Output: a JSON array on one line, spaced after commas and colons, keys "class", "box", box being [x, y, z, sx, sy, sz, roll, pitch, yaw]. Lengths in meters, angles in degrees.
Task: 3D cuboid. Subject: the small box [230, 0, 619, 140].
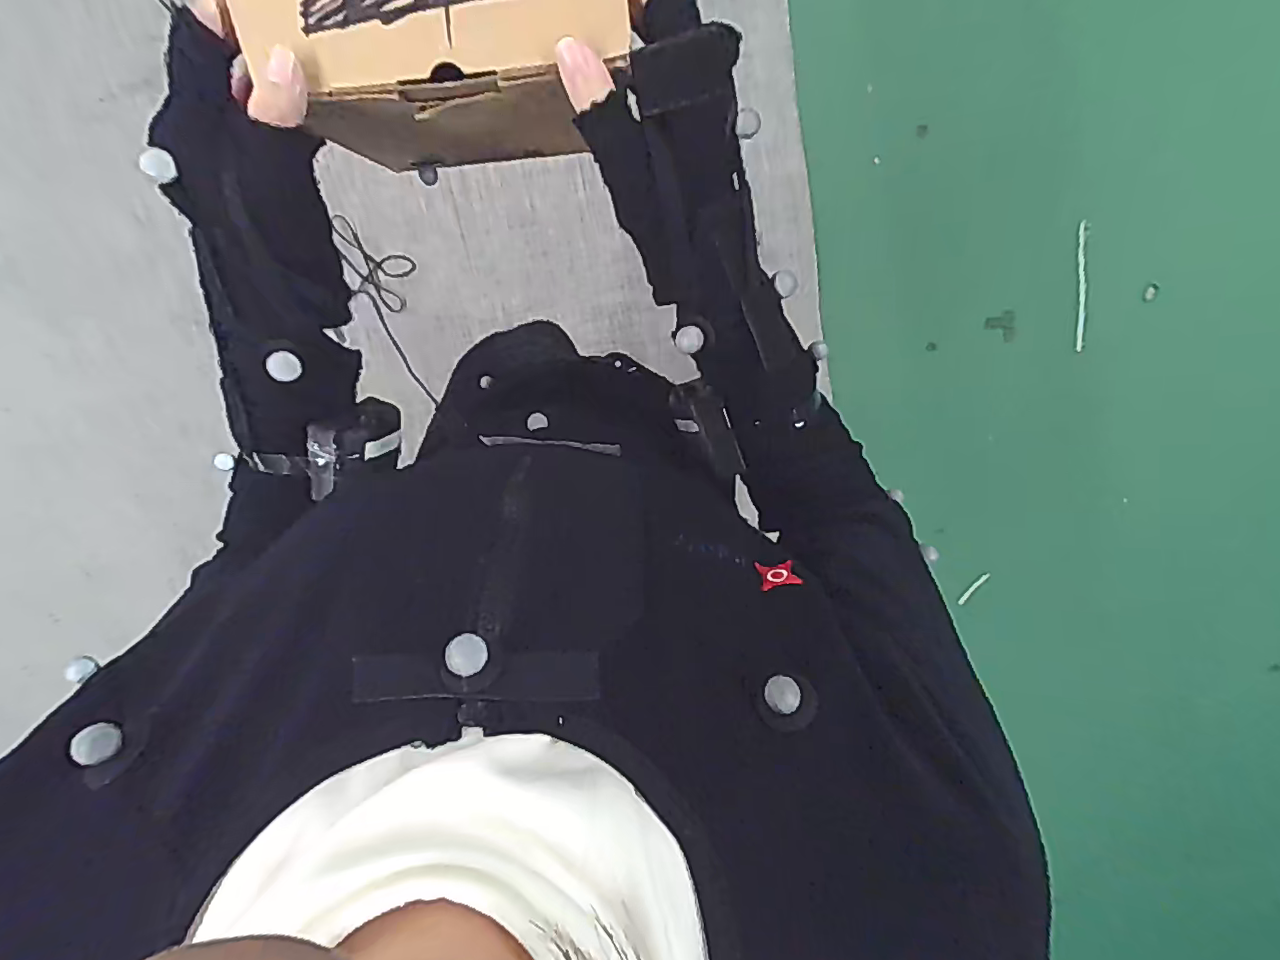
[{"class": "small box", "box": [-0.101, -0.296, 0.280, 0.168, 0.176, 0.179, -7, 109, -1]}]
